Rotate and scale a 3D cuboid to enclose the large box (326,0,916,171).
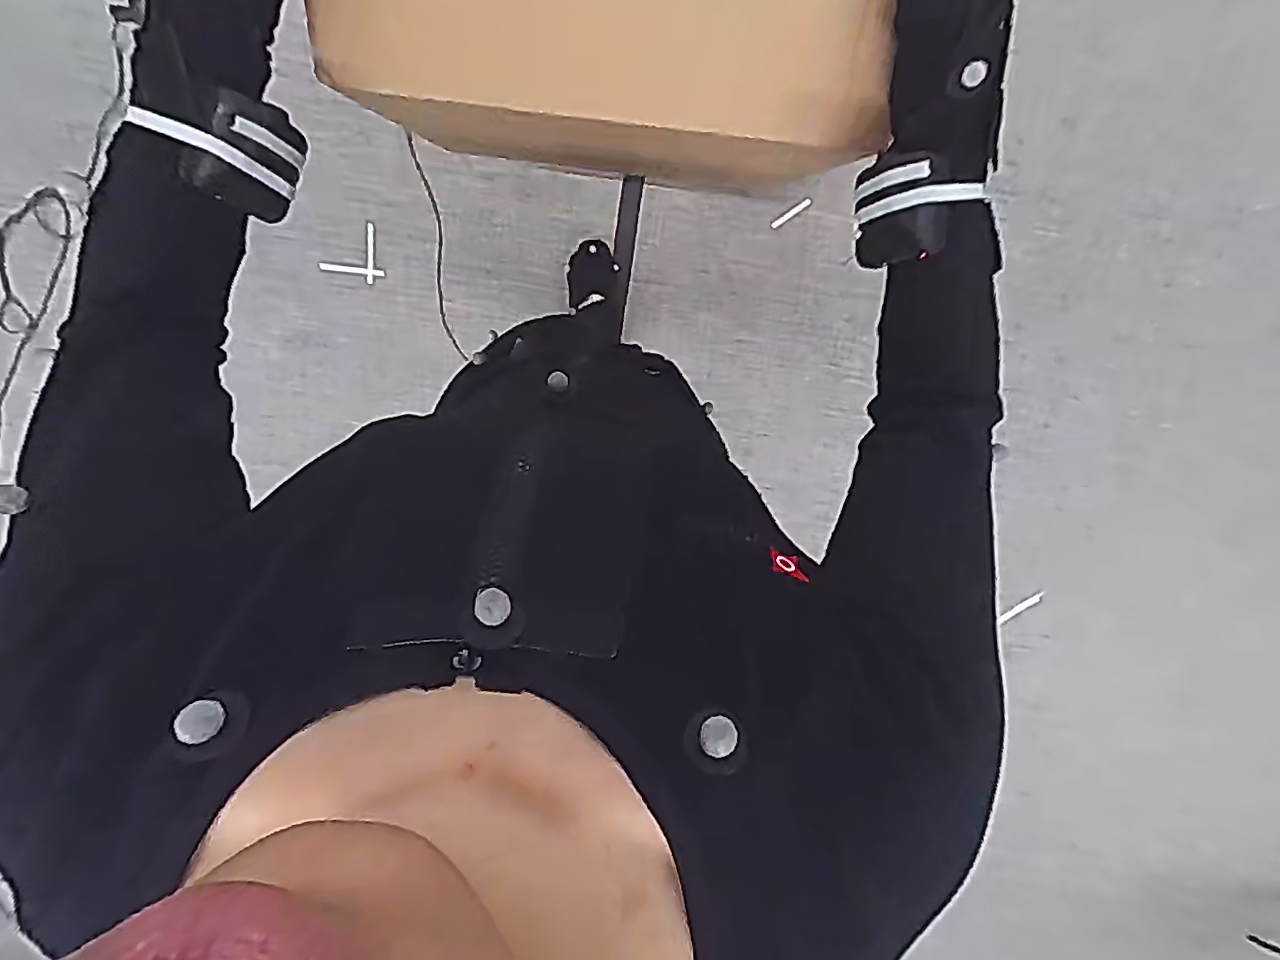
[{"bbox_3d":[-0.011,-0.470,0.459,0.408,0.320,0.320,3,115,-6],"label":"large box"}]
